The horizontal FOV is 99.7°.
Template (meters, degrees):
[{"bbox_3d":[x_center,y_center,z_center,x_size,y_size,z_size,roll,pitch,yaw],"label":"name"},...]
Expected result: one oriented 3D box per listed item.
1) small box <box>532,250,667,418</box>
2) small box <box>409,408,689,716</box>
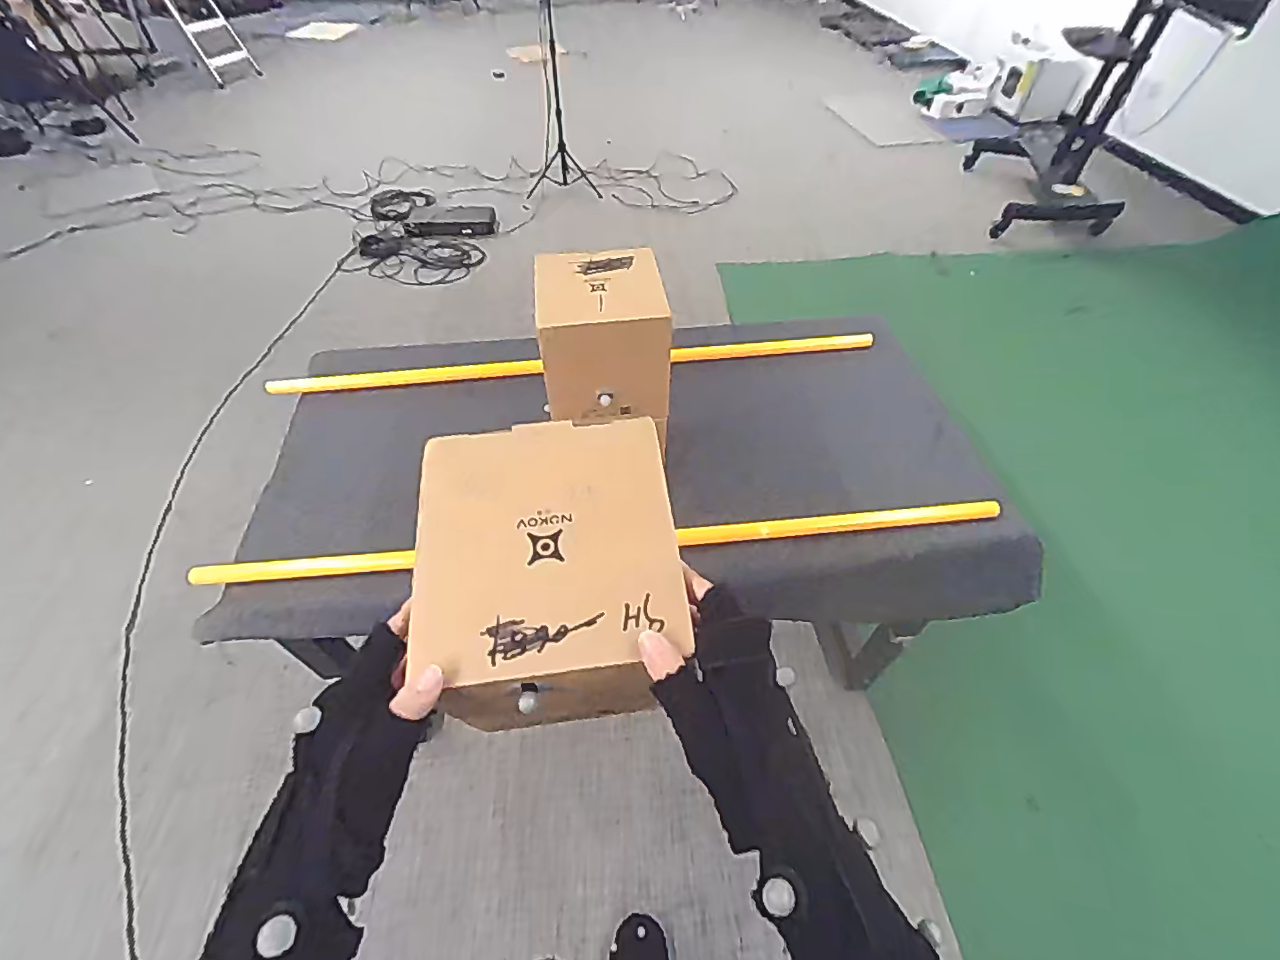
[{"bbox_3d":[-0.058,-0.201,0.765,0.168,0.176,0.179,-6,50,-4],"label":"small box"},{"bbox_3d":[-0.061,0.069,0.425,0.168,0.176,0.179,-7,58,-3],"label":"small box"}]
